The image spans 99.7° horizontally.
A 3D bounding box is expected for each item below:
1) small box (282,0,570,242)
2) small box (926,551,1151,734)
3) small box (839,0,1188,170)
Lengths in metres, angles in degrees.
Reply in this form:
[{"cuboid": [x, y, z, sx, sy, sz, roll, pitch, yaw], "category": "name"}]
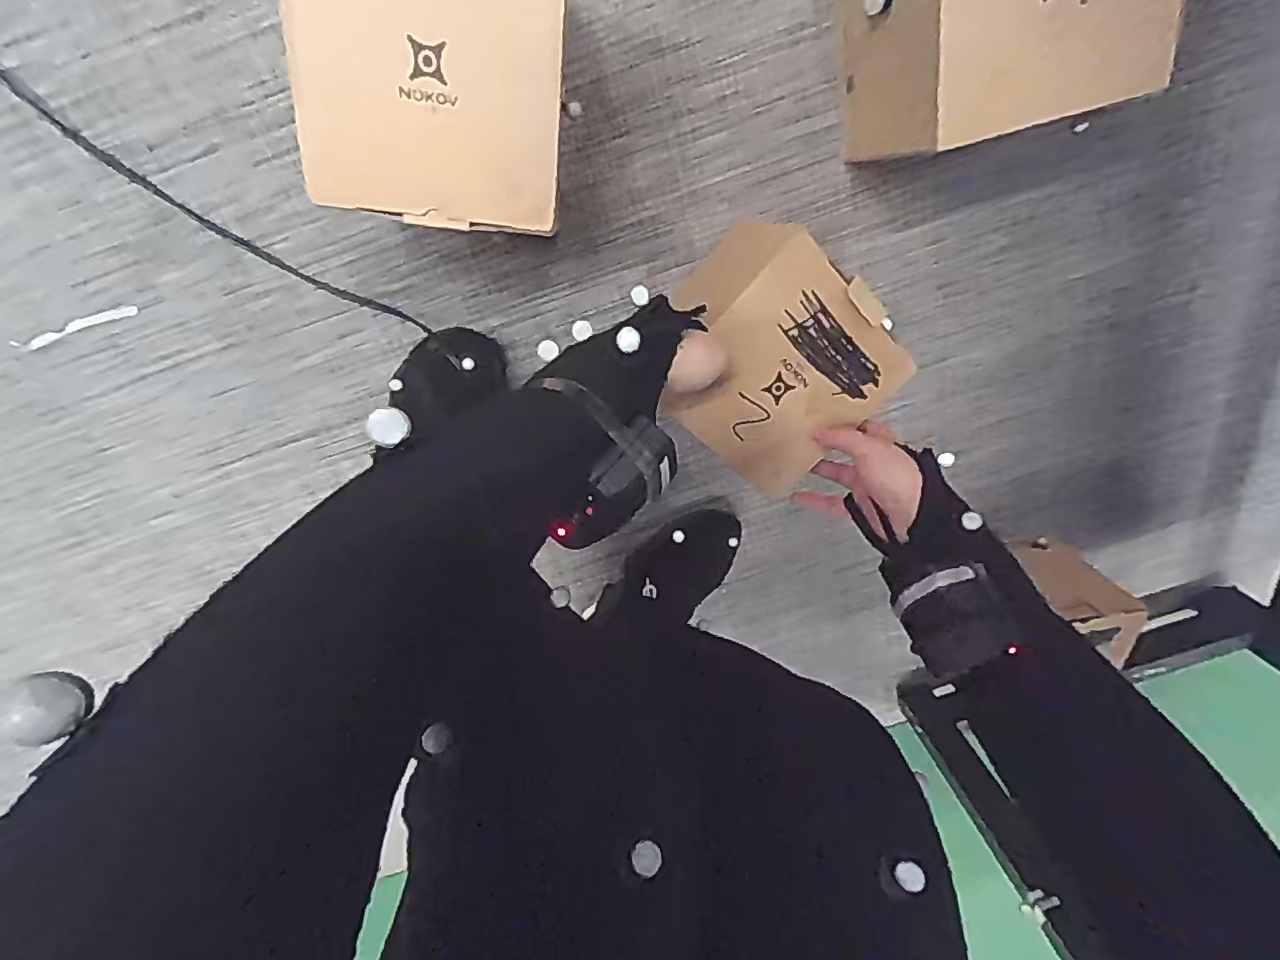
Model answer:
[{"cuboid": [-0.141, -0.289, 0.410, 0.168, 0.176, 0.179, 3, 116, -10], "category": "small box"}, {"cuboid": [0.529, 0.213, 0.750, 0.168, 0.176, 0.179, -7, 119, -3], "category": "small box"}, {"cuboid": [0.270, -0.358, 0.424, 0.179, 0.176, 0.168, -15, 118, 0], "category": "small box"}]
